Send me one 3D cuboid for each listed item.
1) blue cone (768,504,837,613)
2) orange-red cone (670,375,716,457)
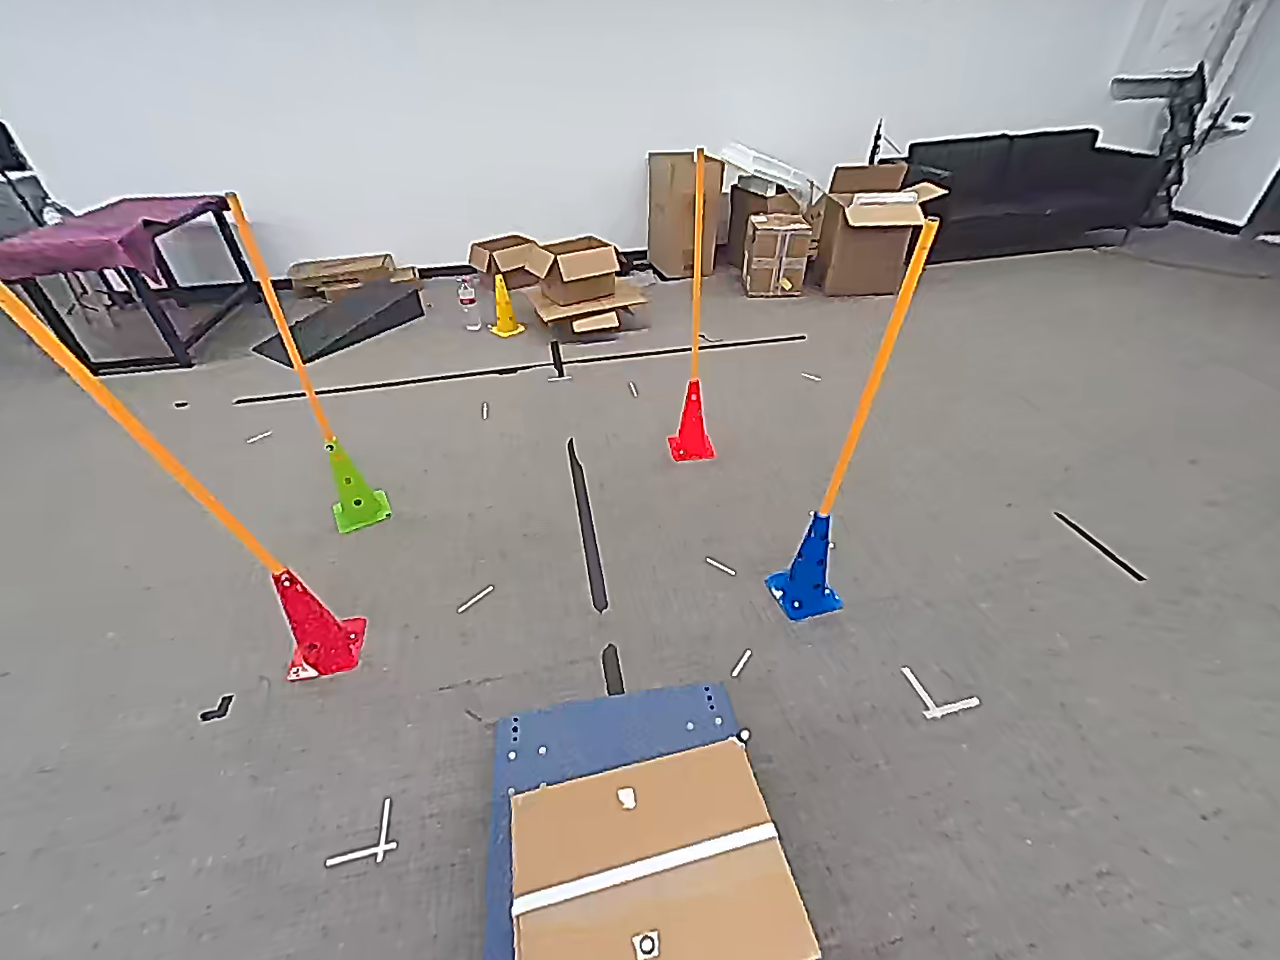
[{"bbox_3d":[0.552,0.238,1.744,0.193,0.380,0.192,-10,38,-12],"label":"blue cone"},{"bbox_3d":[0.242,-0.301,2.410,0.199,0.360,0.198,-3,39,-4],"label":"orange-red cone"}]
